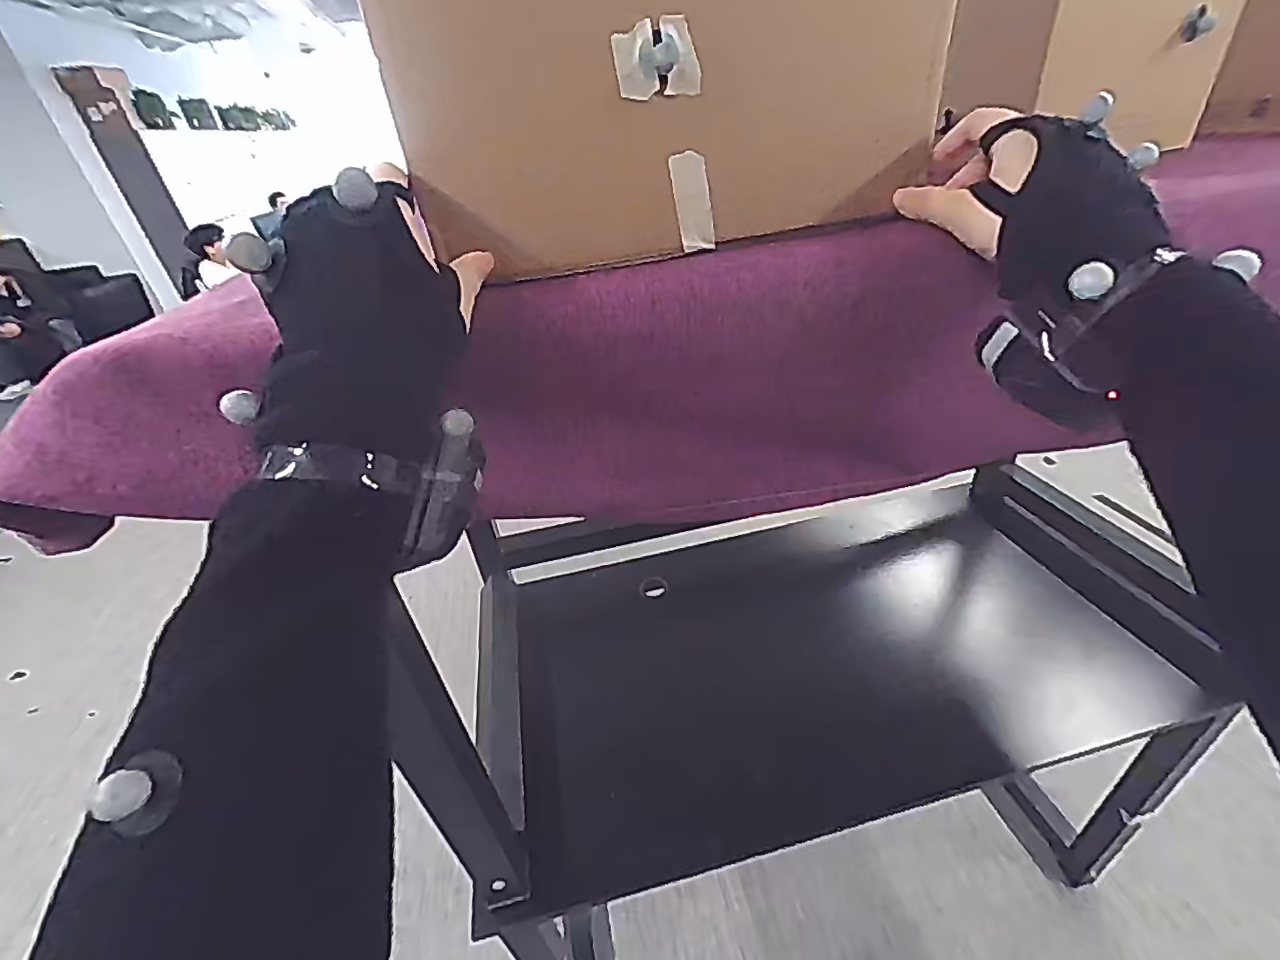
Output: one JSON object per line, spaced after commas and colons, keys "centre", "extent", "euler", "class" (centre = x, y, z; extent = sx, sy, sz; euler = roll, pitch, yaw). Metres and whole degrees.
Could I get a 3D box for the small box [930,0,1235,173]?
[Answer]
{"centre": [0.373, -0.388, 0.487], "extent": [0.179, 0.176, 0.168], "euler": [-12, 33, -7], "class": "small box"}
